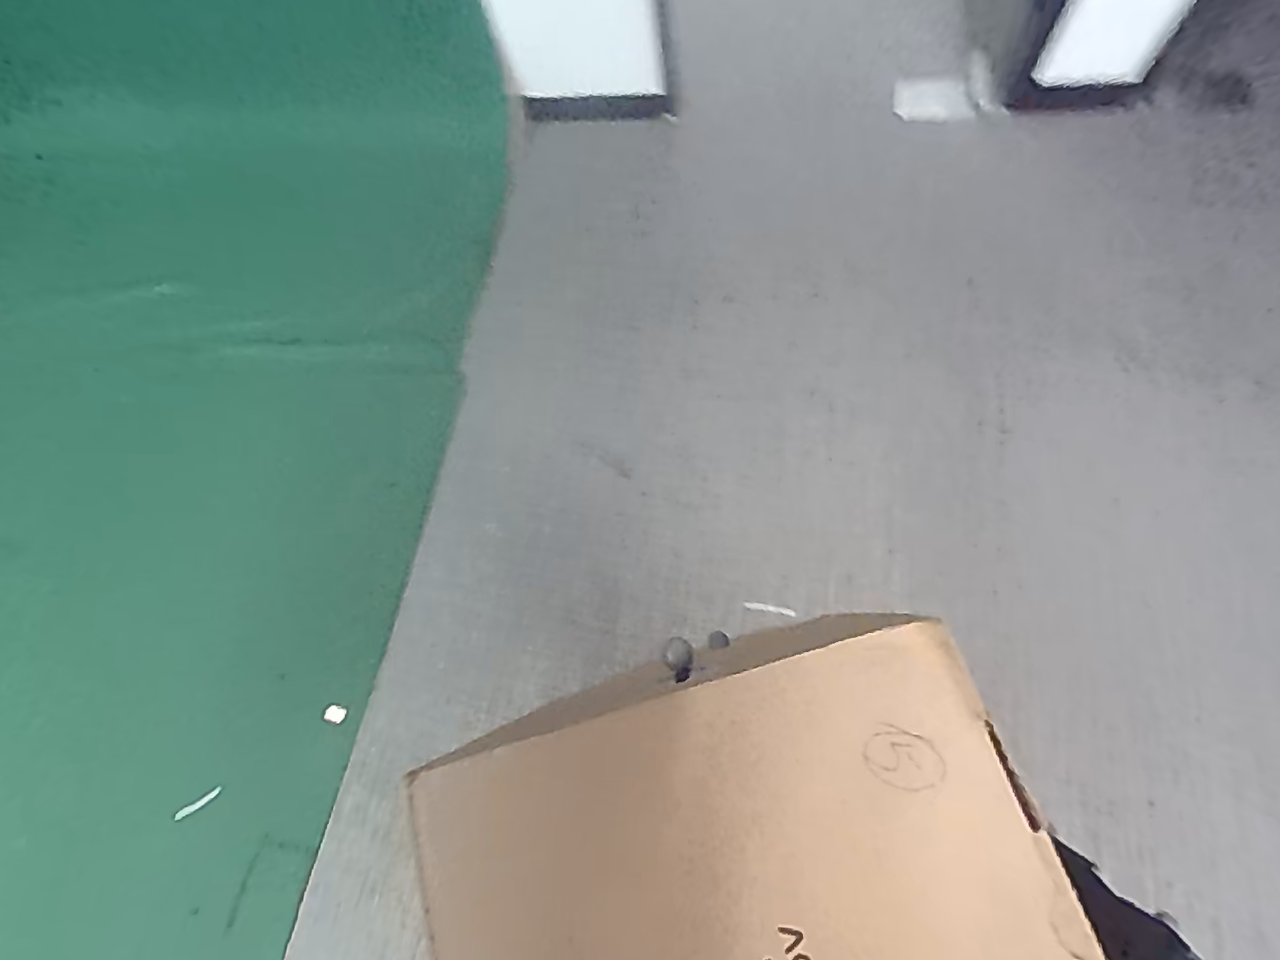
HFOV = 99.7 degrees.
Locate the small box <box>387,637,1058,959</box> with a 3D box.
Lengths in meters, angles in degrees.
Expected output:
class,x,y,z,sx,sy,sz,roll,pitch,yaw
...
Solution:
class,x,y,z,sx,sy,sz,roll,pitch,yaw
small box,0.037,0.169,0.220,0.179,0.176,0.168,-20,73,4
